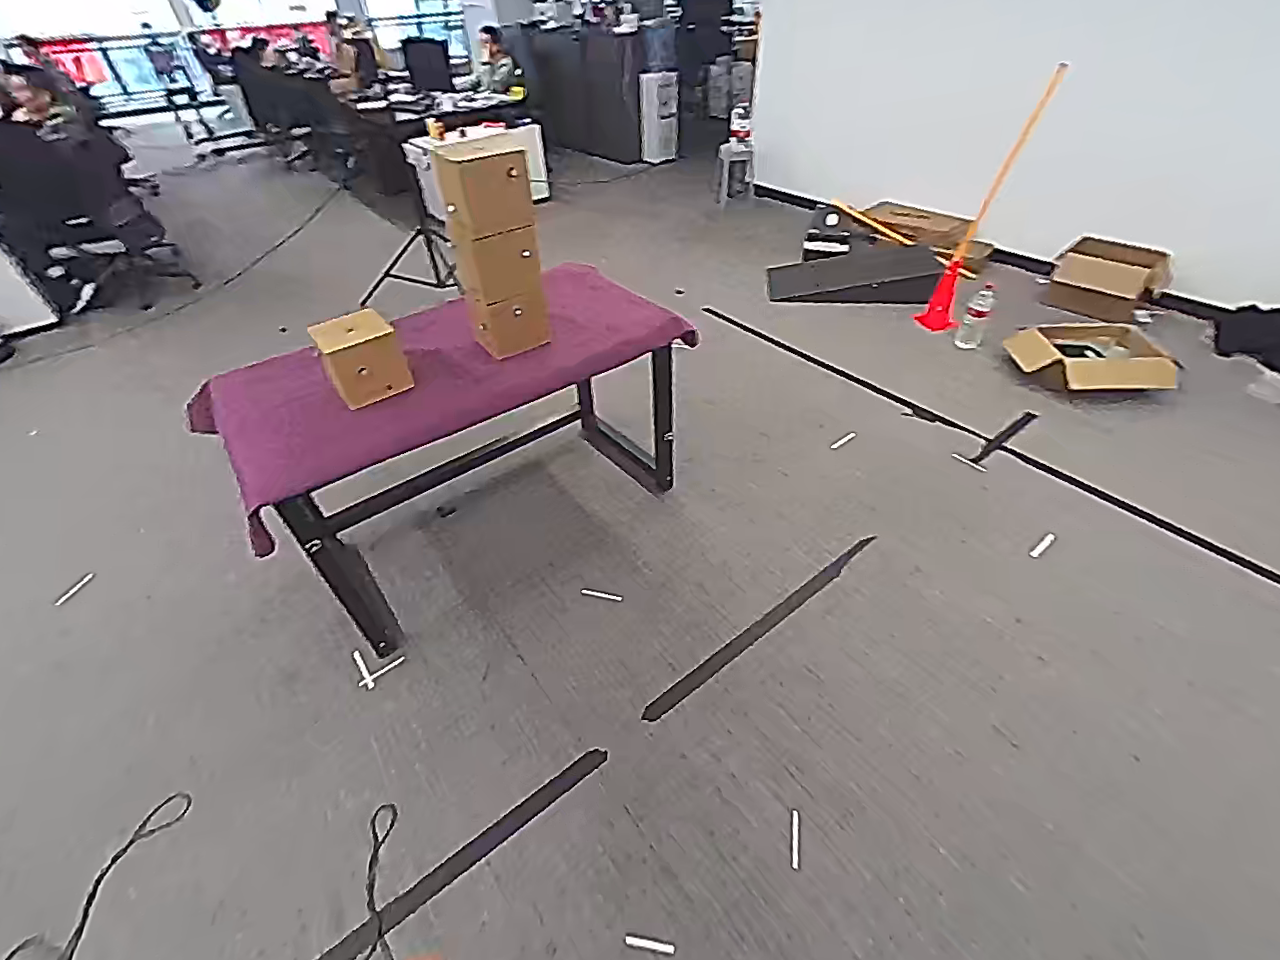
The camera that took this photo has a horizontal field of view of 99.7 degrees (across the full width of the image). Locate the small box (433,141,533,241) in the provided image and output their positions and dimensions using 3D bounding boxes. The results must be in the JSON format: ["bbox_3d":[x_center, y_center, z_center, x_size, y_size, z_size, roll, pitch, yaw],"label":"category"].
[{"bbox_3d":[-0.377,-0.712,1.329,0.179,0.176,0.168,-28,48,-24],"label":"small box"}]

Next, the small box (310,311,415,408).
[{"bbox_3d":[-0.711,-0.308,1.400,0.168,0.176,0.179,-30,49,-26],"label":"small box"}]

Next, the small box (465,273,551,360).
[{"bbox_3d":[-0.373,-0.468,1.551,0.179,0.176,0.168,-27,49,-25],"label":"small box"}]
